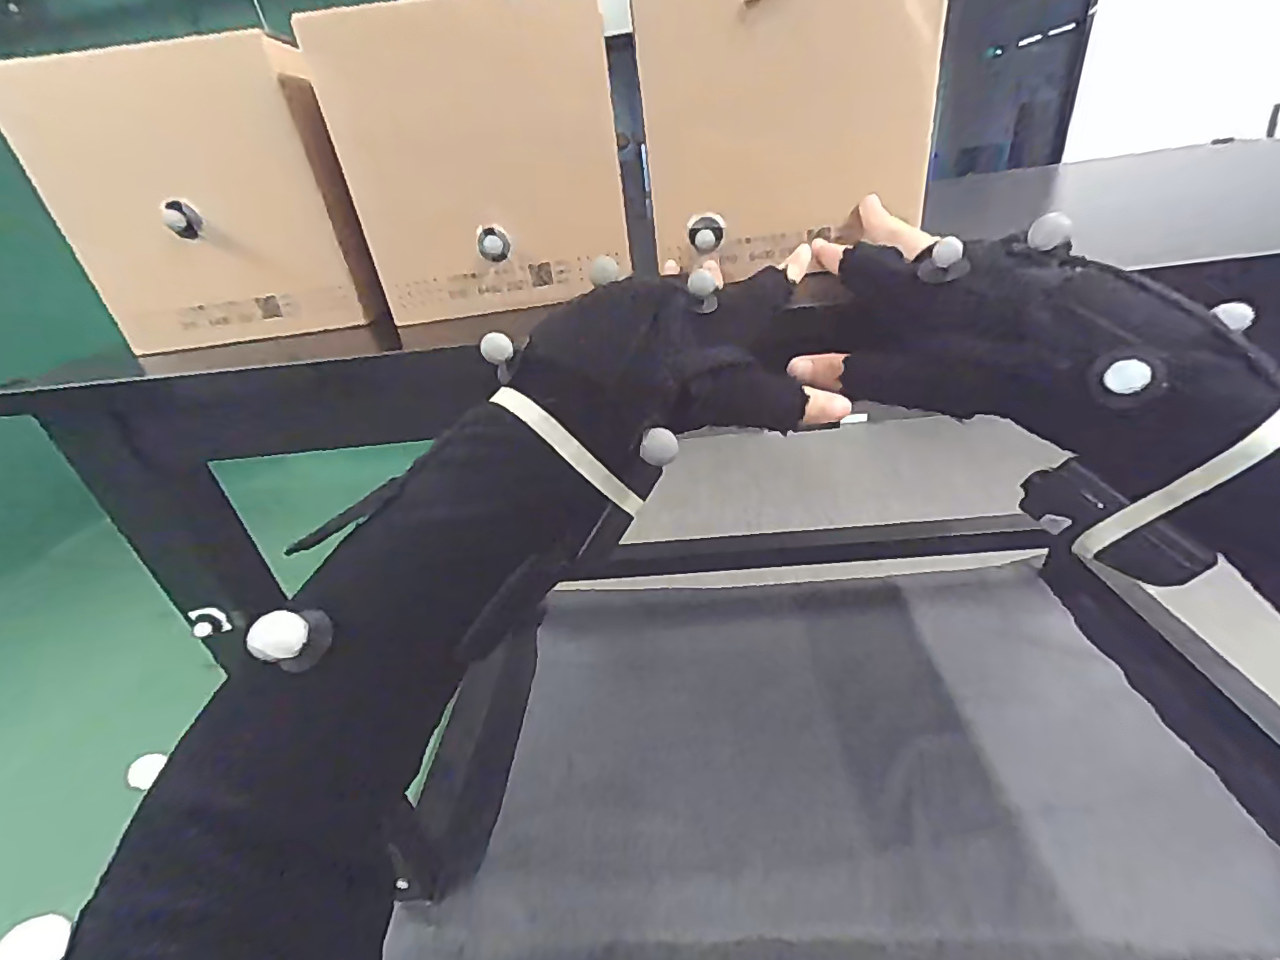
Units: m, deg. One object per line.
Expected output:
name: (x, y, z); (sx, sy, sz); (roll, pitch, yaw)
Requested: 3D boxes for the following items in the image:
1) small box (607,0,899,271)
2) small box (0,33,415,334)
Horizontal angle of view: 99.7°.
small box: (0.079, -0.257, 0.398); (0.168, 0.176, 0.179); (-4, 29, 8)
small box: (-0.301, -0.219, 0.428); (0.168, 0.176, 0.179); (-7, 29, -1)
